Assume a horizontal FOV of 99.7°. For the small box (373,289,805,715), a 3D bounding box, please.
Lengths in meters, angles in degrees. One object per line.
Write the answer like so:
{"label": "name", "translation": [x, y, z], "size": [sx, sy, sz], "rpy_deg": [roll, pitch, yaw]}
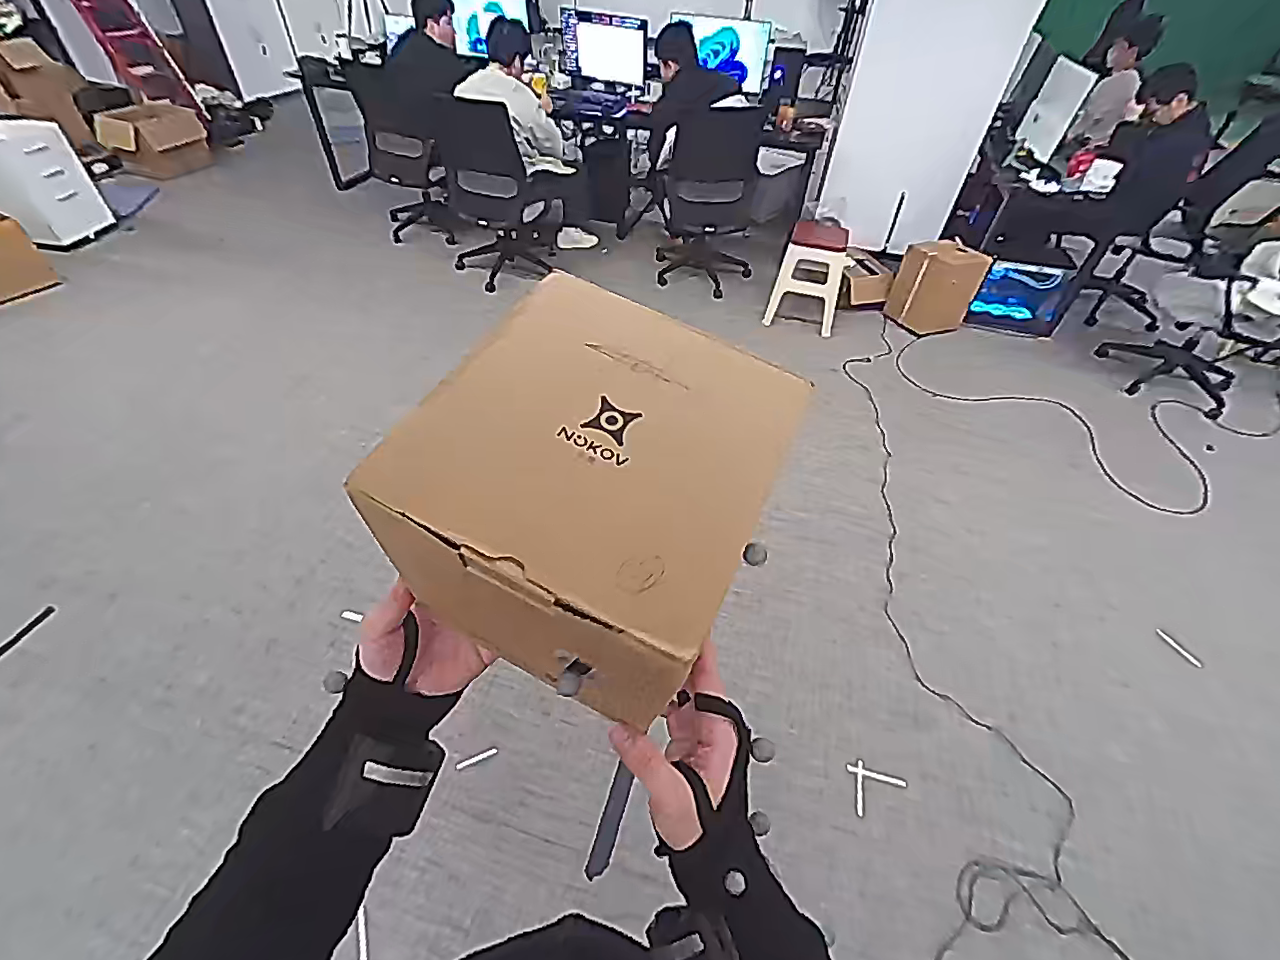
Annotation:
{"label": "small box", "translation": [-0.022, 0.022, 0.341], "size": [0.168, 0.176, 0.179], "rpy_deg": [25, 56, 7]}
